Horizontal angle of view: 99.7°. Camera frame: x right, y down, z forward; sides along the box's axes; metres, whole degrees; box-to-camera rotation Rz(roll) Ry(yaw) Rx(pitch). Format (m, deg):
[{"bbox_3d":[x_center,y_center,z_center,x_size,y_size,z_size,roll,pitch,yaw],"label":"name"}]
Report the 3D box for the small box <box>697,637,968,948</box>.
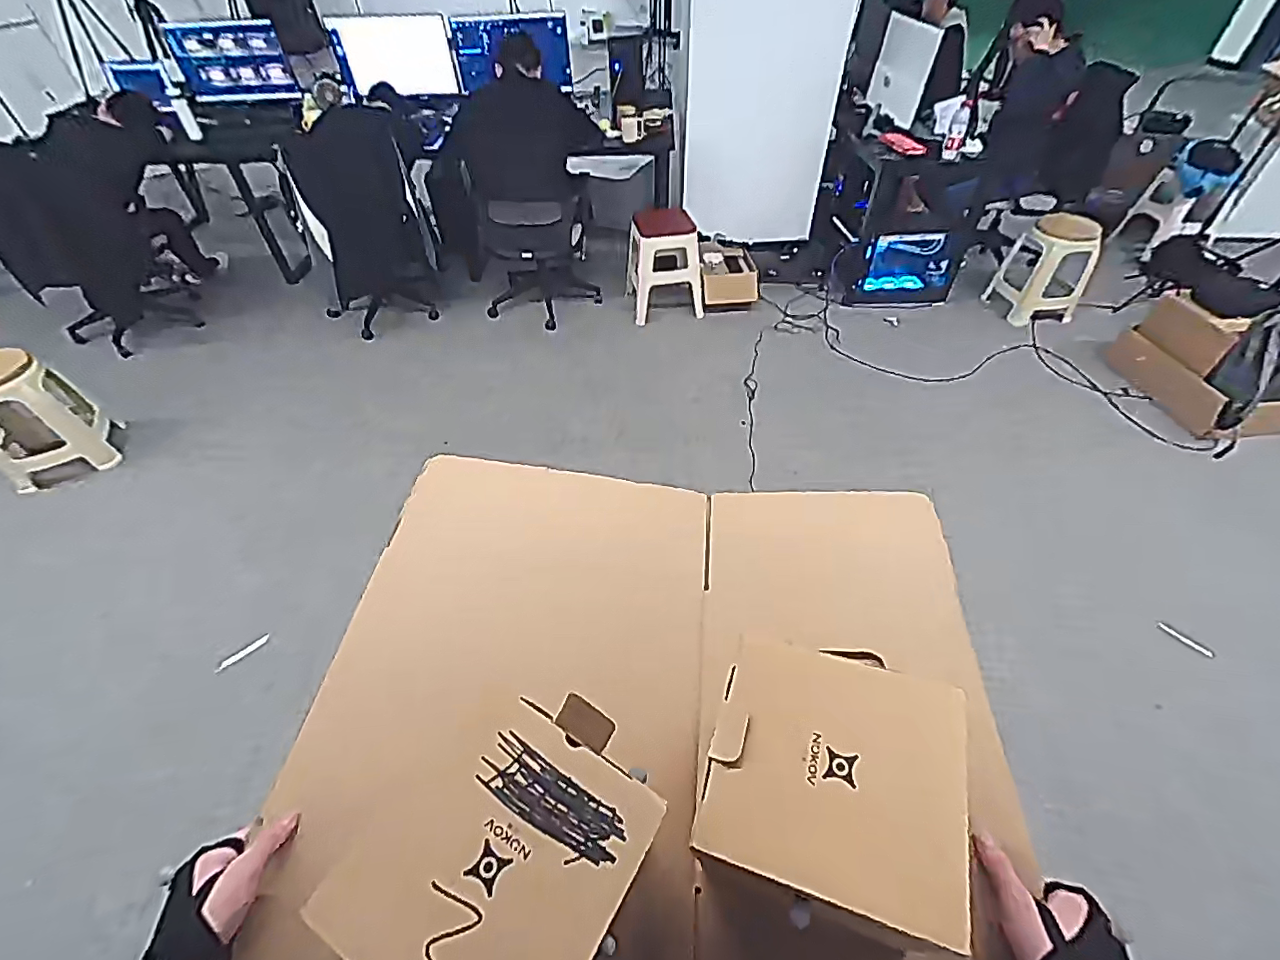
[{"bbox_3d":[0.160,0.264,0.467,0.179,0.176,0.168,9,53,19],"label":"small box"}]
